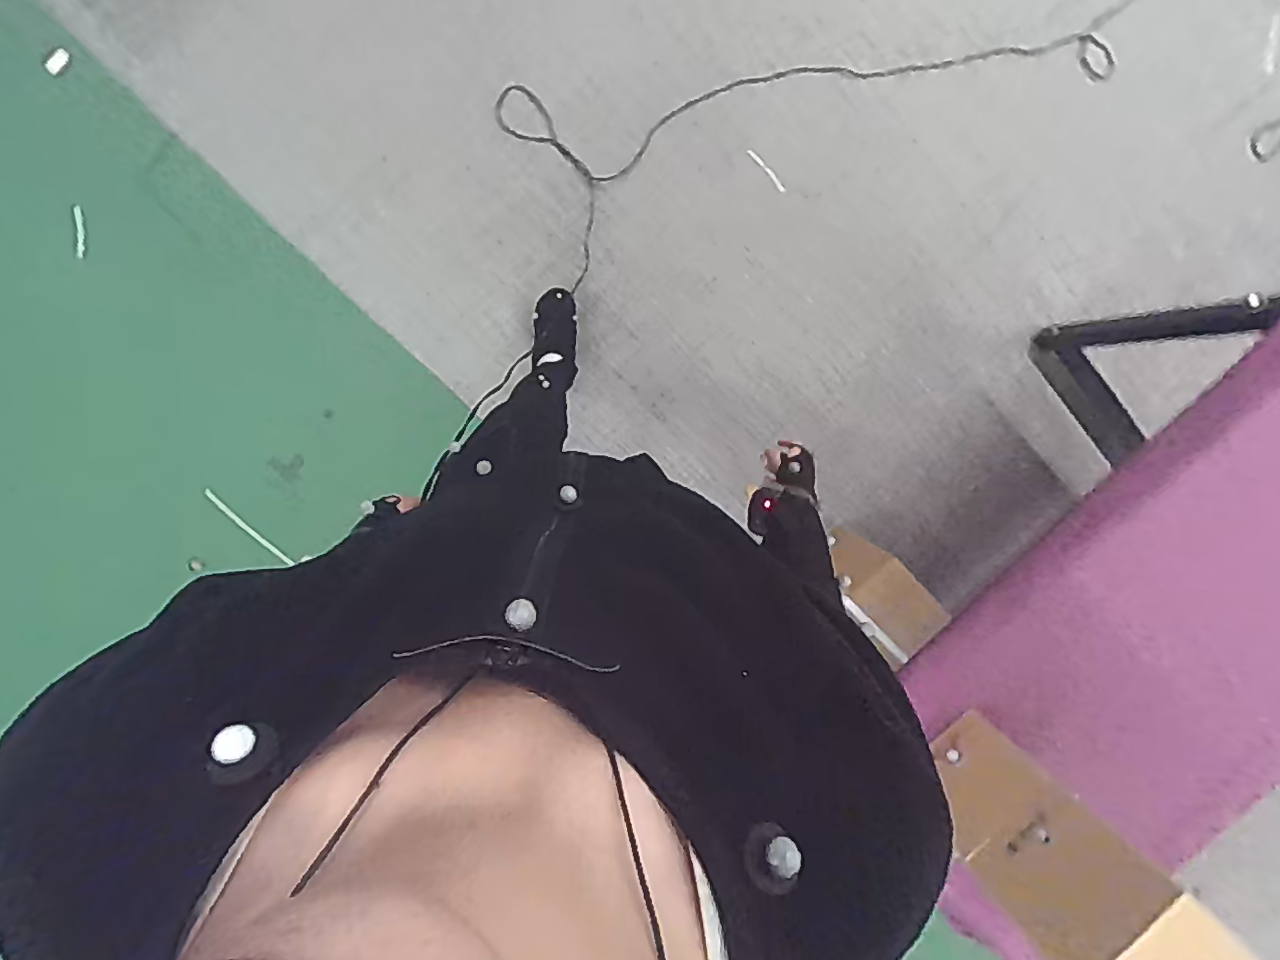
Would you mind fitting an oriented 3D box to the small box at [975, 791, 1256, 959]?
[{"bbox_3d":[0.561,0.524,0.648,0.179,0.176,0.168,43,92,-11],"label":"small box"}]

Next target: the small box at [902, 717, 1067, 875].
[{"bbox_3d":[0.541,0.499,0.808,0.168,0.176,0.179,-44,100,2],"label":"small box"}]
